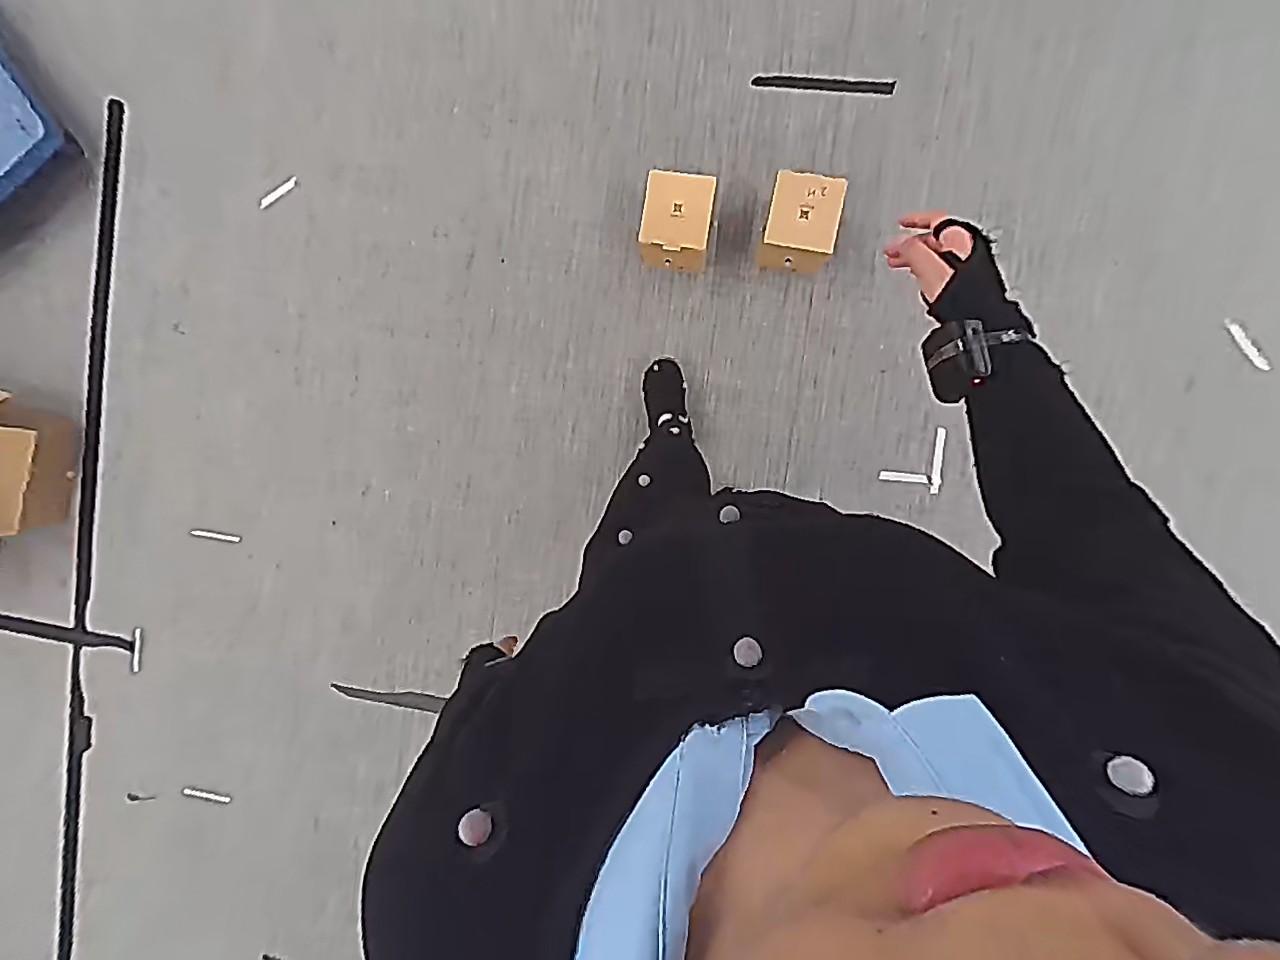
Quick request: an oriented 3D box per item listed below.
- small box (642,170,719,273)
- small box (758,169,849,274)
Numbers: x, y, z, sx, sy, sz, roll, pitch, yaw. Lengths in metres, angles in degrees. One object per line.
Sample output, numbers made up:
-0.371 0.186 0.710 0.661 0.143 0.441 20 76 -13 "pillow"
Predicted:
0.102 -0.650 1.374 0.168 0.176 0.179 9 94 5 "small box"
0.398 -0.634 1.347 0.168 0.176 0.179 12 94 4 "small box"
